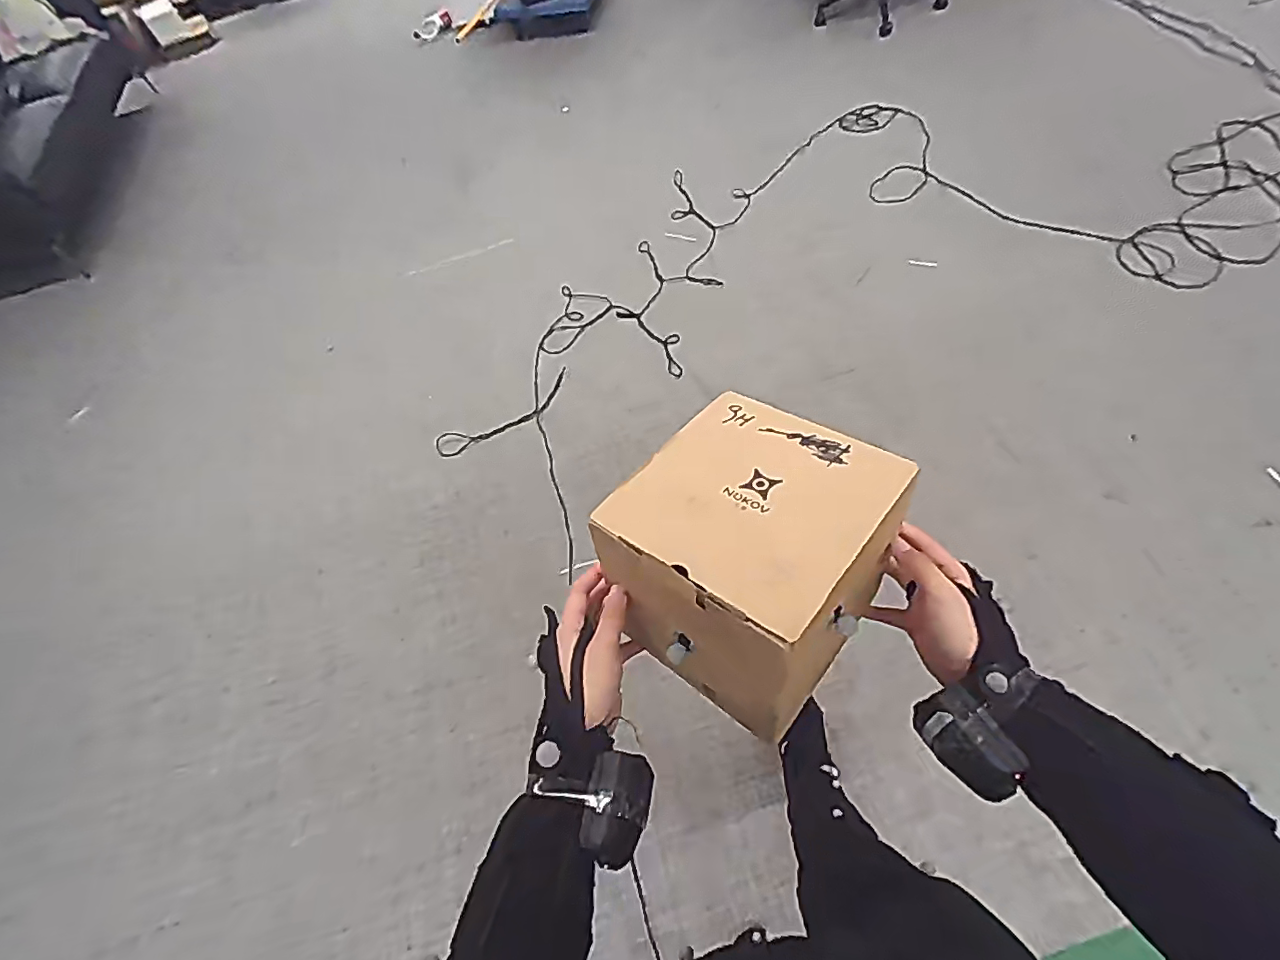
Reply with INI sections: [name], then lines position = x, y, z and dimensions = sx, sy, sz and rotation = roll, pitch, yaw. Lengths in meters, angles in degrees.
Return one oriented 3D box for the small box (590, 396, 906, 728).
[small box]
position = 0.089, 0.067, 0.448
dimensions = 0.168, 0.176, 0.179
rotation = 29, 58, 31
